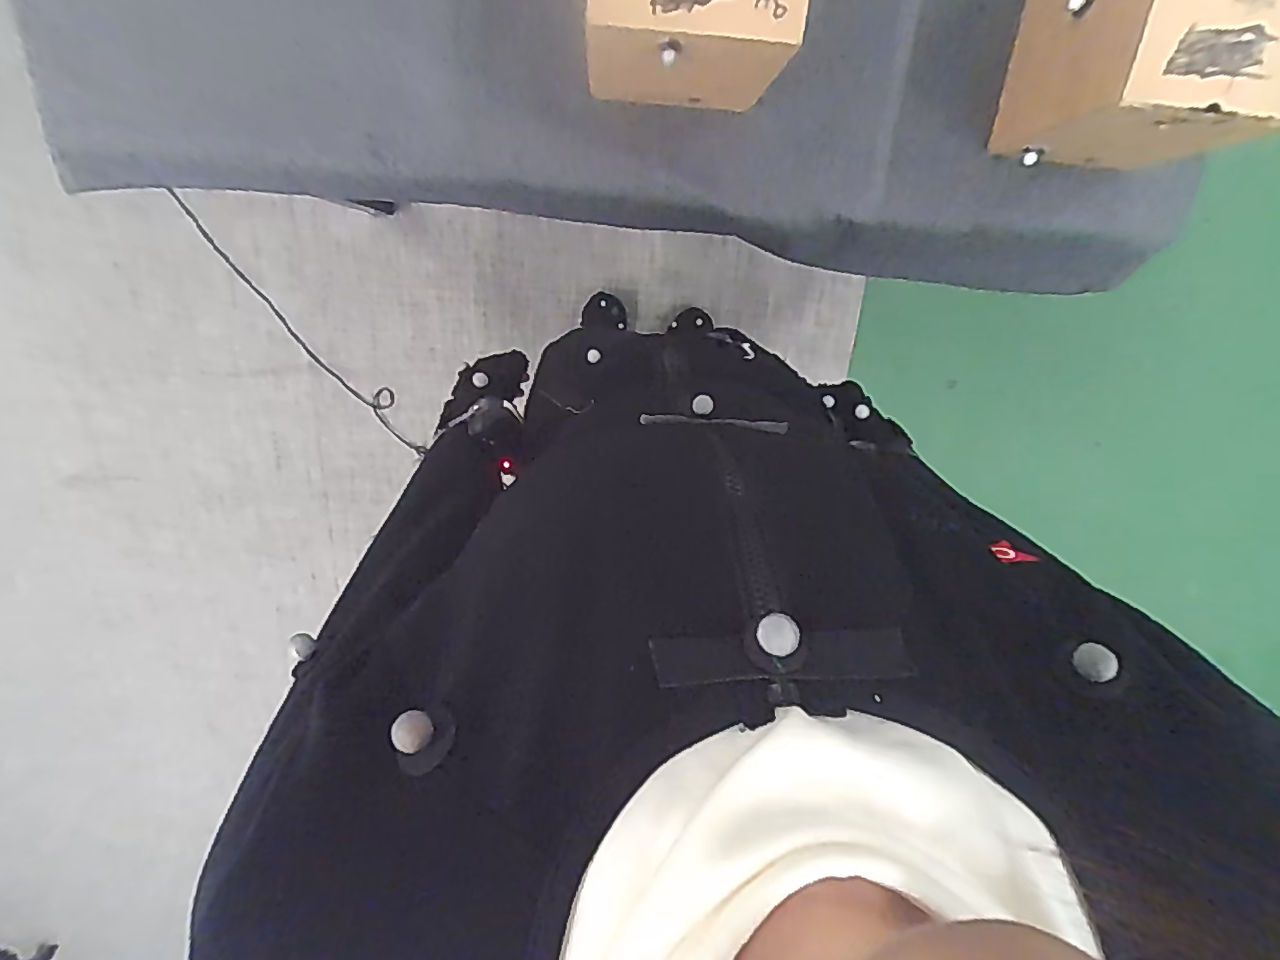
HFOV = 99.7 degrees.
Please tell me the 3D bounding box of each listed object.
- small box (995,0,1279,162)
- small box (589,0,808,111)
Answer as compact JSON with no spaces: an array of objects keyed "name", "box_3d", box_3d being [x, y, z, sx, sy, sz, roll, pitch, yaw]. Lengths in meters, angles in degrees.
[{"name":"small box","box_3d":[0.467,-0.408,0.491,0.168,0.176,0.179,4,108,-4]},{"name":"small box","box_3d":[0.043,-0.445,0.453,0.168,0.176,0.179,2,109,-4]}]
